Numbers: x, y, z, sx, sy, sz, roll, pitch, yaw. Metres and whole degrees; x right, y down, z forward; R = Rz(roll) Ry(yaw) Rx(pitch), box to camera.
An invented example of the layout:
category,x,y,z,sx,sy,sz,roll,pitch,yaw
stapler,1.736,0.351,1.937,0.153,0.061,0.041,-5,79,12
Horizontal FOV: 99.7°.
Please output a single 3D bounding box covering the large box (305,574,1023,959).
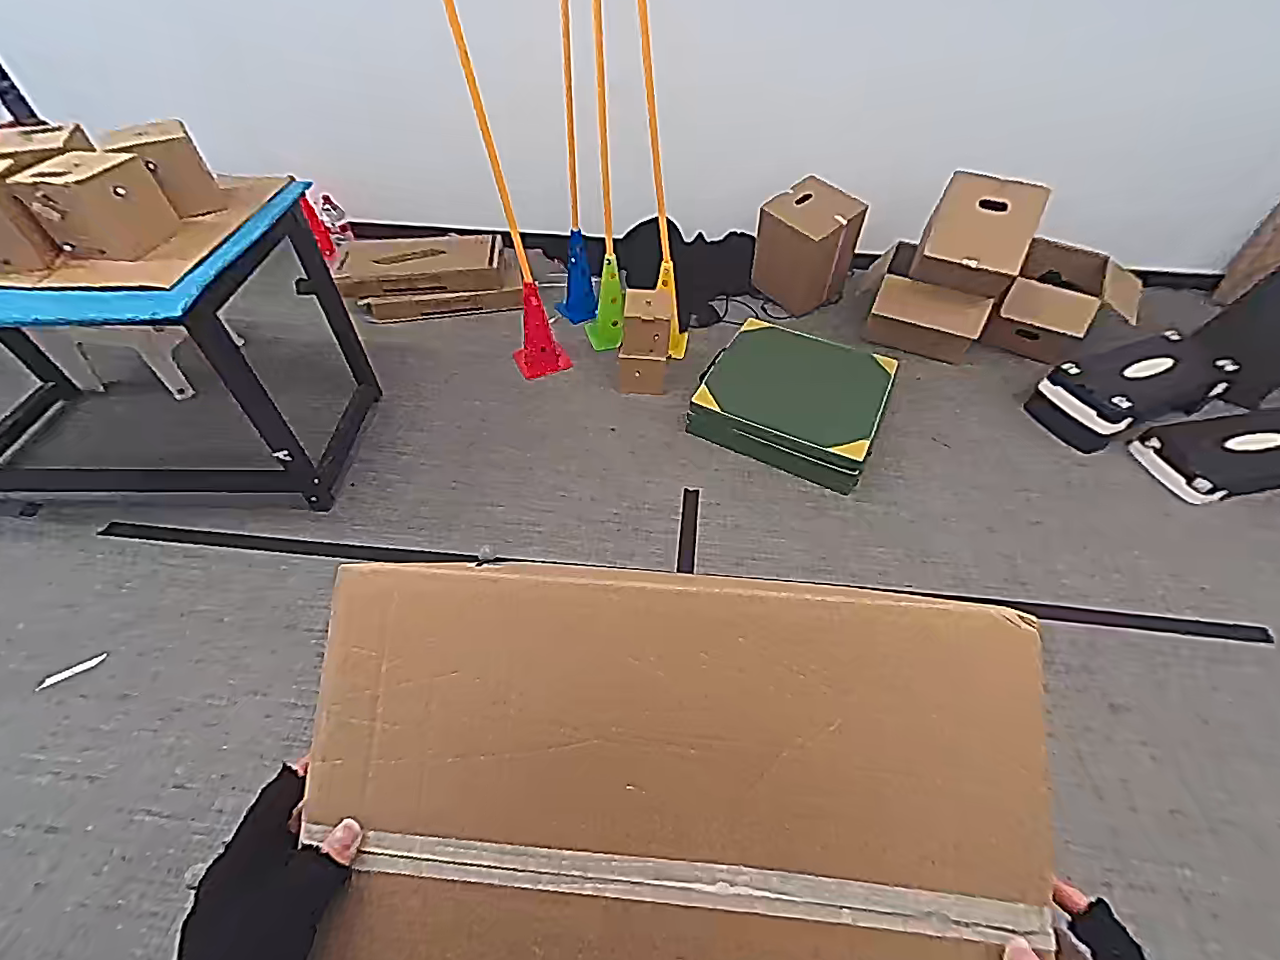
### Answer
category,x,y,z,sx,sy,sz,roll,pitch,yaw
large box,0.017,0.244,0.454,0.408,0.320,0.320,3,82,5
